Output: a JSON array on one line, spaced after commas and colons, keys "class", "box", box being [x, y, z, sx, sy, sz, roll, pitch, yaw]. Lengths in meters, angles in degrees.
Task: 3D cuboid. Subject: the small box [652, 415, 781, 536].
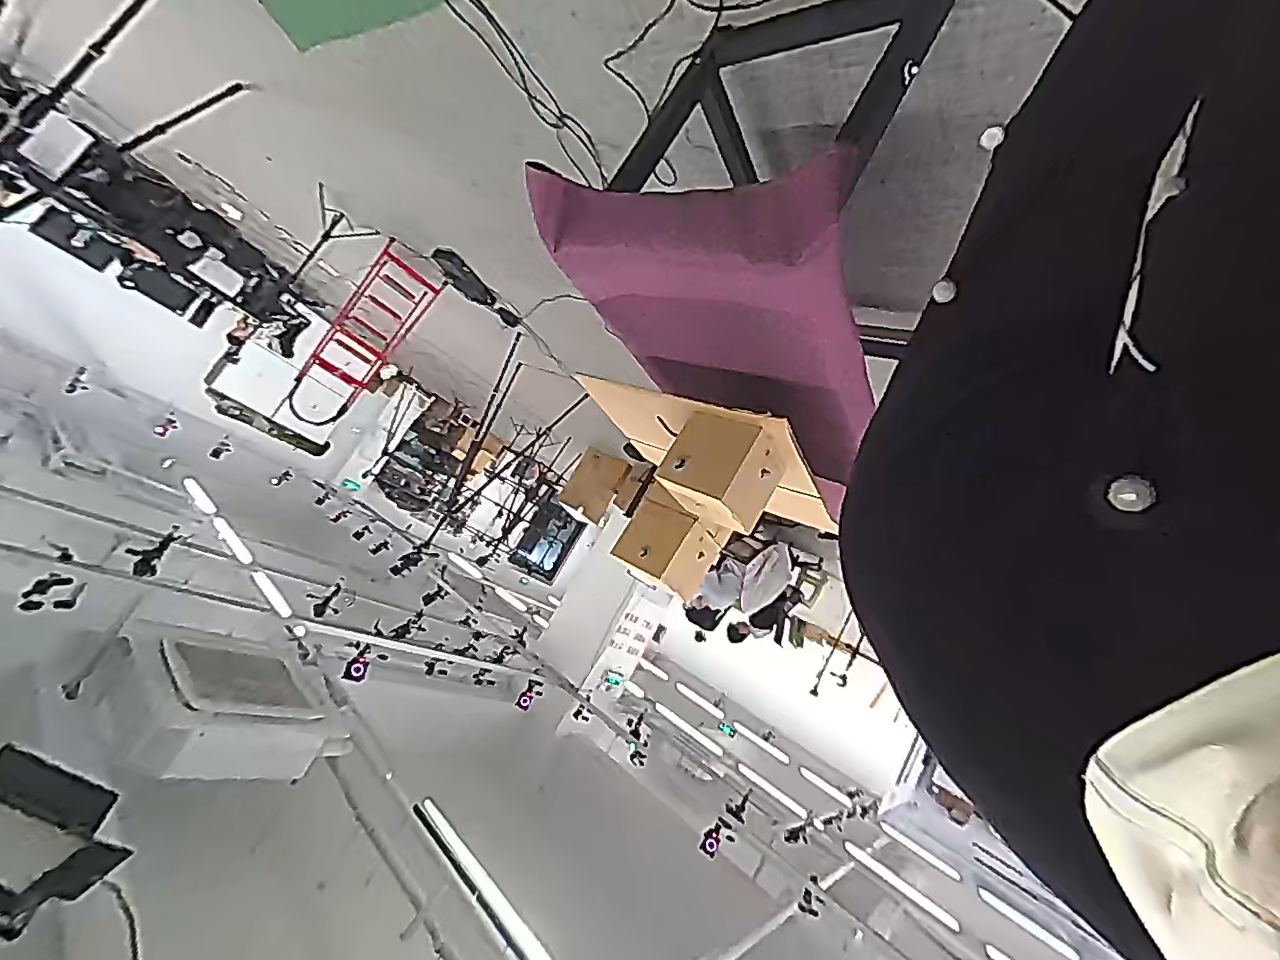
[{"class": "small box", "box": [0.163, -0.014, 1.124, 0.179, 0.176, 0.168, 21, 164, 39]}]

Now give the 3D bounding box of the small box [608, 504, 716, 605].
[{"class": "small box", "box": [0.058, 0.178, 1.351, 0.179, 0.176, 0.168, 19, 161, 41]}]

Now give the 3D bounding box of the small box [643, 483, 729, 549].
[{"class": "small box", "box": [0.147, 0.046, 1.381, 0.179, 0.176, 0.168, 21, 163, 40]}]
